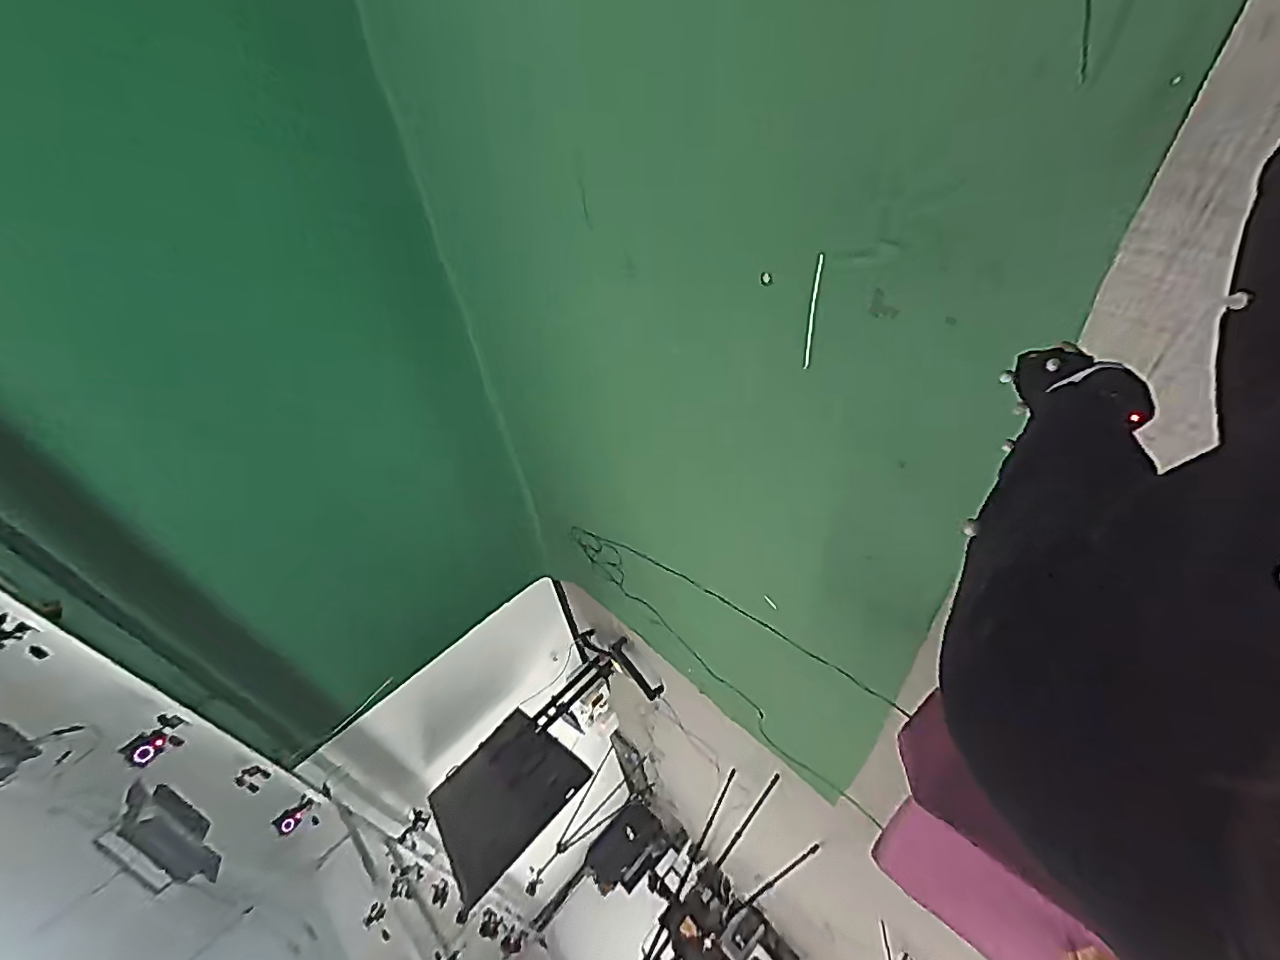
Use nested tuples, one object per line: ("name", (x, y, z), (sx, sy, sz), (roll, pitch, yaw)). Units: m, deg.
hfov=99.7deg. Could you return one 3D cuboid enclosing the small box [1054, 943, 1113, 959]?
("small box", (0.968, 1.122, 1.132), (0.168, 0.176, 0.179), (32, 146, 34))
